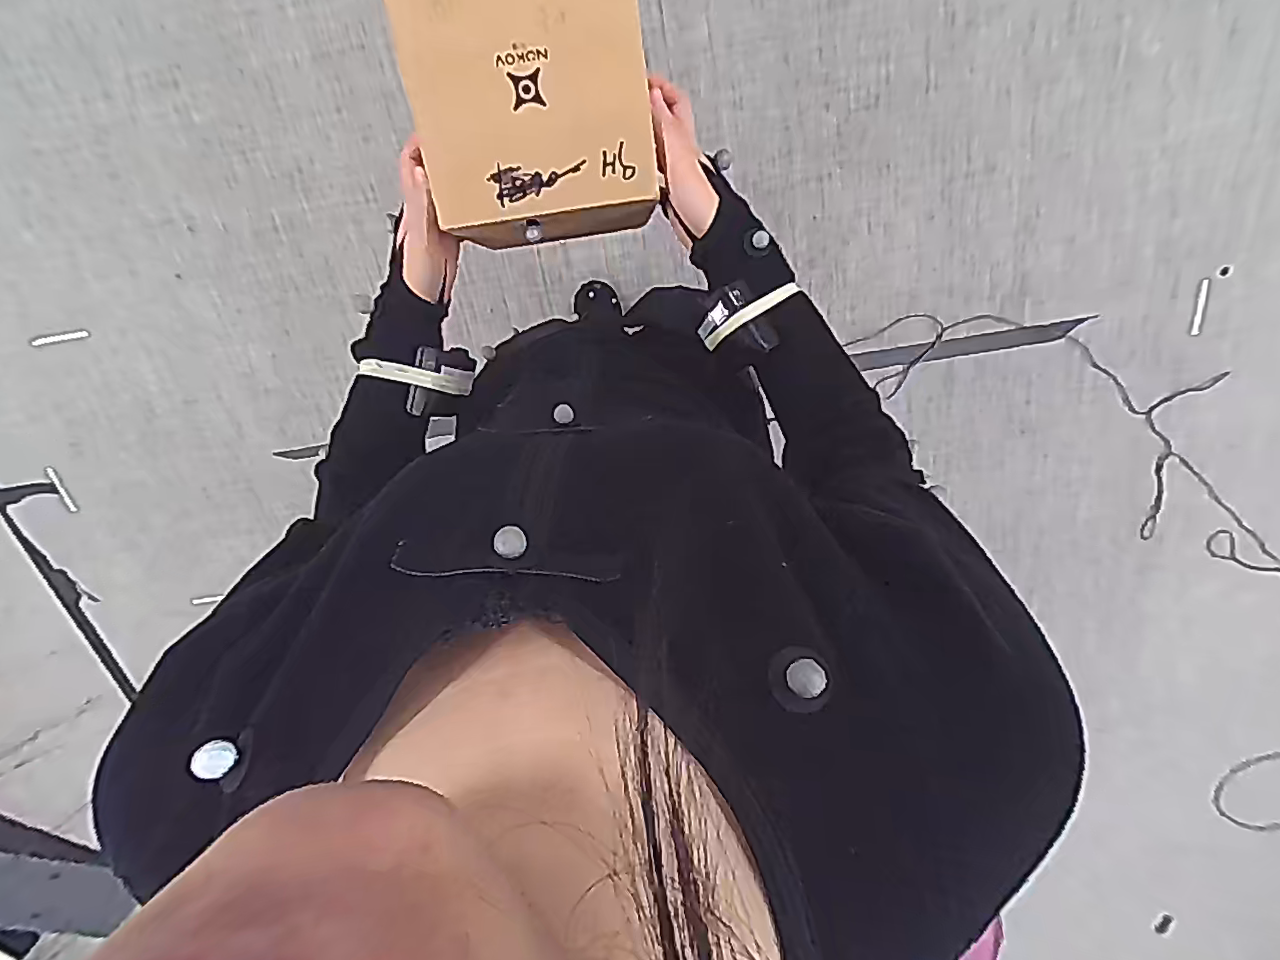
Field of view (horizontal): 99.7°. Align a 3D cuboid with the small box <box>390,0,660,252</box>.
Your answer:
[{"bbox_3d":[-0.081,-0.298,0.444,0.168,0.176,0.179,-8,108,-1],"label":"small box"}]

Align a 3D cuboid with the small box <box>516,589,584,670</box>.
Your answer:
[{"bbox_3d":[-0.267,0.443,1.628,0.179,0.176,0.168,6,110,-5],"label":"small box"}]
